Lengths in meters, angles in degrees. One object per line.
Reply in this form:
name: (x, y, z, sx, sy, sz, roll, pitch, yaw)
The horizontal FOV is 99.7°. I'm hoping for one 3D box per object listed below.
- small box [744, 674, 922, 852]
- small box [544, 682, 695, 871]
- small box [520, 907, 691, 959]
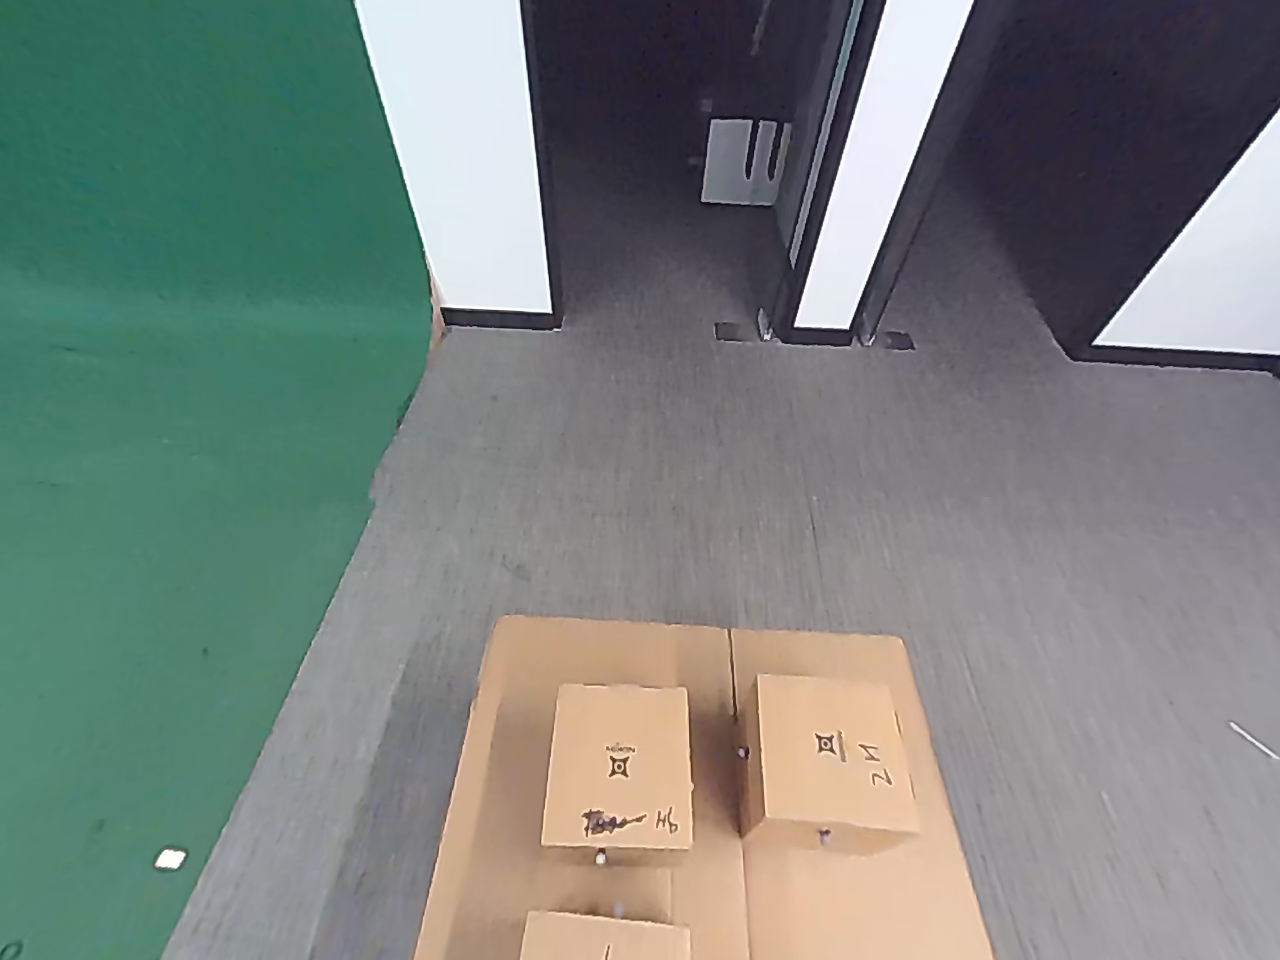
small box: (0.231, 0.371, 0.706, 0.179, 0.176, 0.168, 4, 49, 4)
small box: (-0.022, 0.379, 0.691, 0.168, 0.176, 0.179, 1, 48, 0)
small box: (-0.038, 0.551, 0.542, 0.168, 0.176, 0.179, 4, 48, 2)
